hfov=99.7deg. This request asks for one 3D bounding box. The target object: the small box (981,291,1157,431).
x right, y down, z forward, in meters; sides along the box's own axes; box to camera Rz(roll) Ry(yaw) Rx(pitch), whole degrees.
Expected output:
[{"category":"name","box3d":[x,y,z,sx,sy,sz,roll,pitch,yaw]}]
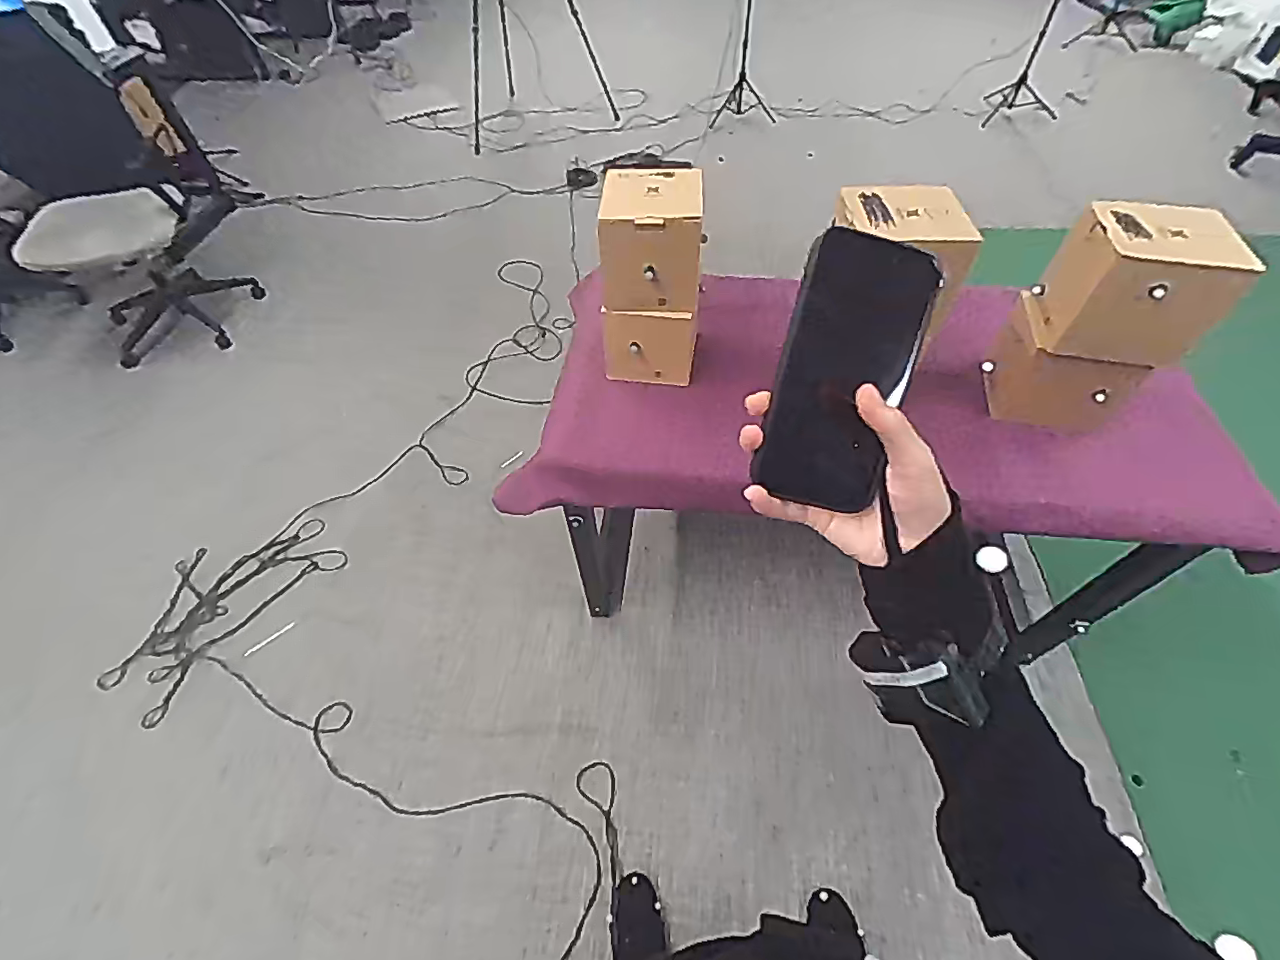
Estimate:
[{"category":"small box","box3d":[0.746,-0.208,0.963,0.179,0.176,0.168,10,53,11]}]

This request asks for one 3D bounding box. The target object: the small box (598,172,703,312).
[{"category":"small box","box3d":[0.024,-0.412,0.946,0.168,0.176,0.179,2,53,4]}]

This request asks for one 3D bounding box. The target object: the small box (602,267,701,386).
[{"category":"small box","box3d":[0.029,-0.306,1.071,0.168,0.176,0.179,6,53,7]}]

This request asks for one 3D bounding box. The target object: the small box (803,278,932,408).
[{"category":"small box","box3d":[0.412,-0.253,1.011,0.179,0.176,0.168,5,53,7]}]

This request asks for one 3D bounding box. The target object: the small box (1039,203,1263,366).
[{"category":"small box","box3d":[0.746,-0.295,0.824,0.179,0.176,0.168,11,53,10]}]
